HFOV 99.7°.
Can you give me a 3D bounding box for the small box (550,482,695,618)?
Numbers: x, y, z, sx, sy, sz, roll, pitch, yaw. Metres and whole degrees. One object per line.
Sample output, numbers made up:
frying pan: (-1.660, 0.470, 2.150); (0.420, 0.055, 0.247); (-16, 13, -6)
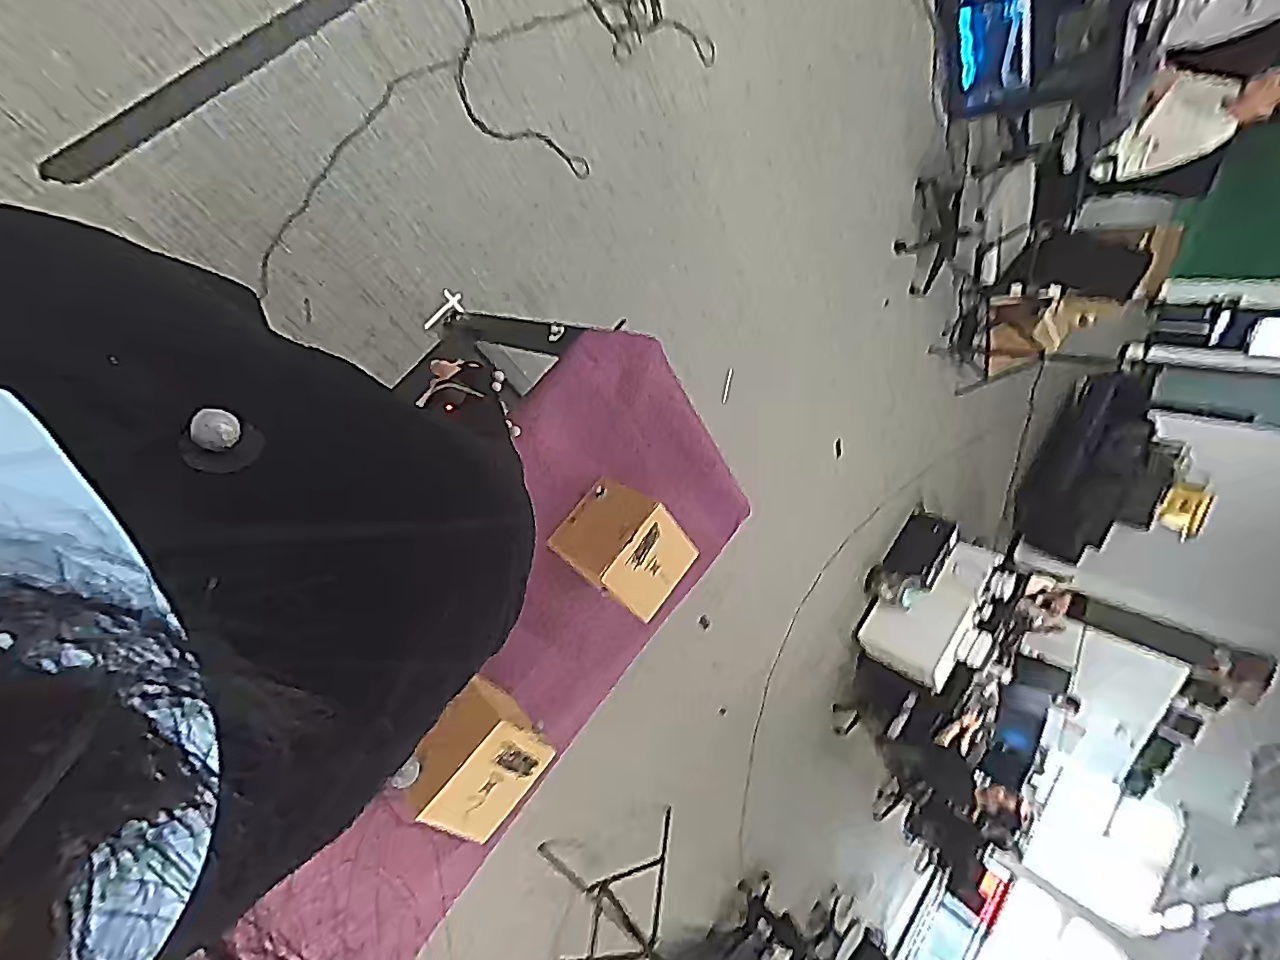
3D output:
small box: (-0.035, 0.121, 1.009); (0.168, 0.176, 0.179); (-51, 134, -15)
